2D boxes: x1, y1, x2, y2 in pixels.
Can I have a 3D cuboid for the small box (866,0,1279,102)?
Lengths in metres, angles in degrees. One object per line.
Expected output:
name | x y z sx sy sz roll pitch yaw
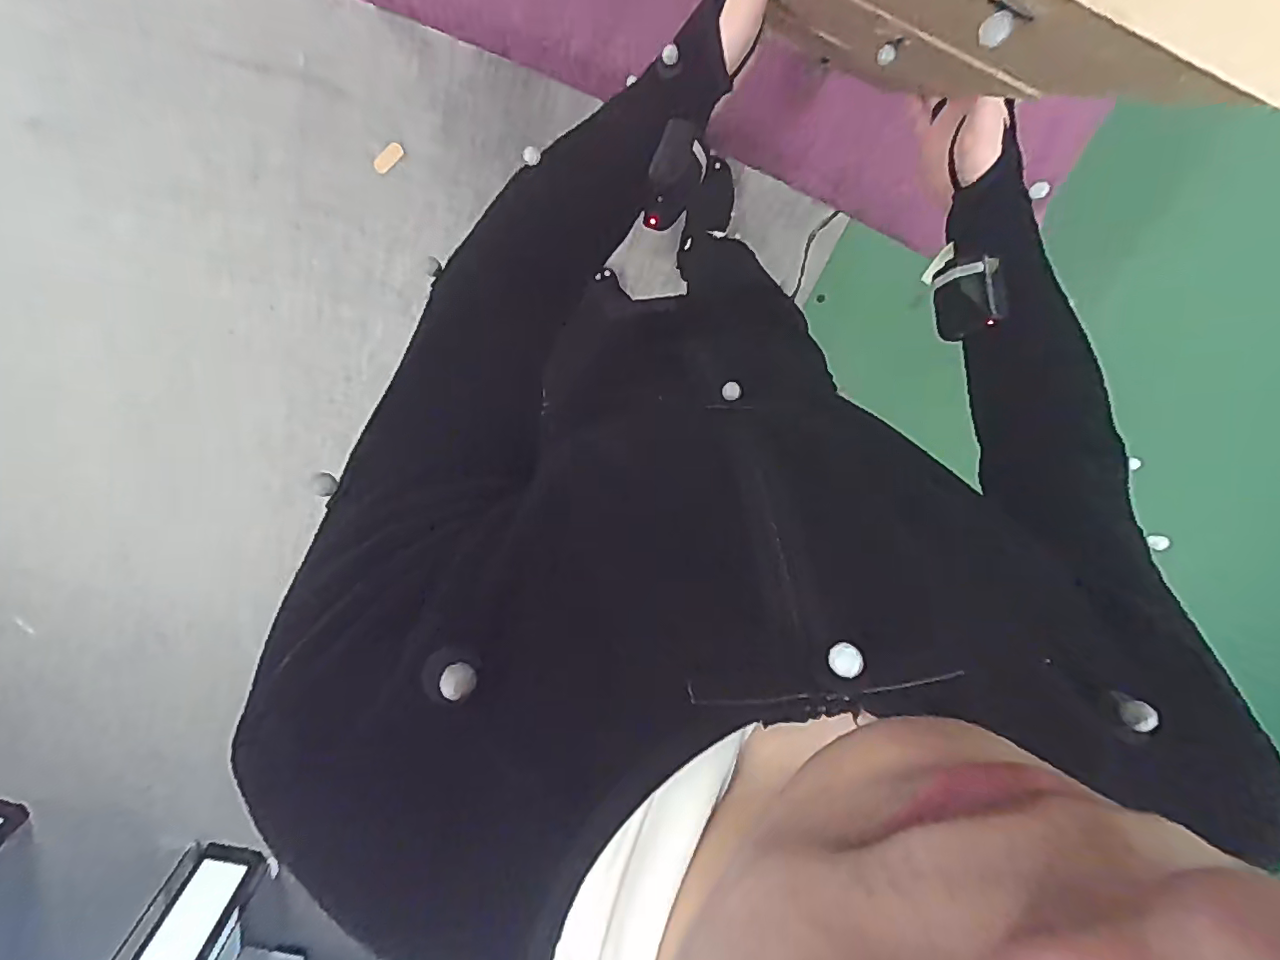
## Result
small box | 0.194 -0.275 0.209 0.179 0.176 0.168 18 127 -9

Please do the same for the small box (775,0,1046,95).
small box | 0.202 -0.372 0.341 0.179 0.176 0.168 19 126 -9

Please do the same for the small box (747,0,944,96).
small box | 0.211 -0.468 0.473 0.179 0.176 0.168 18 125 -9
